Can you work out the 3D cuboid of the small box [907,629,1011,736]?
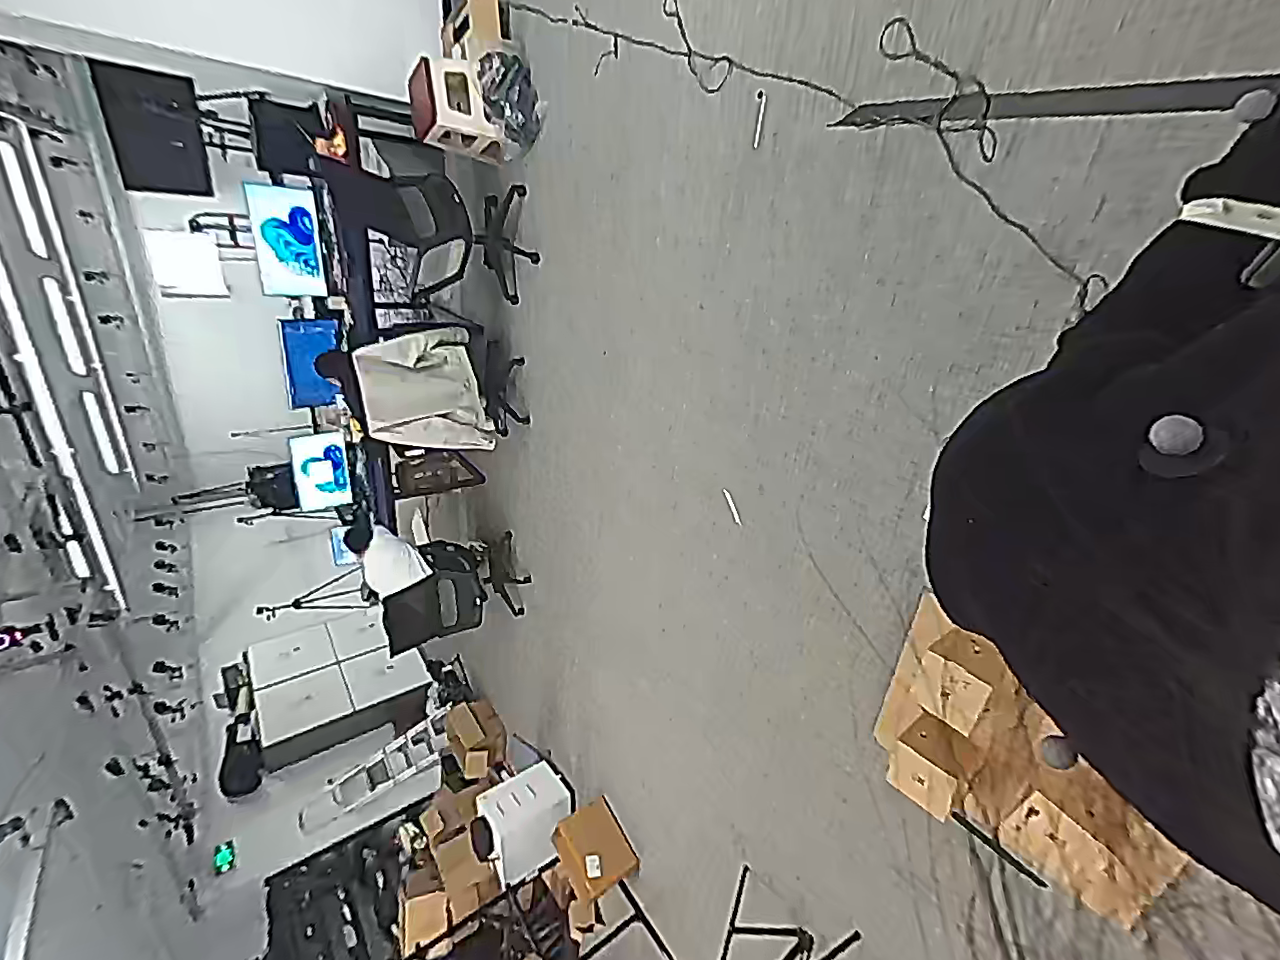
[{"bbox_3d":[0.860,0.538,1.456,0.168,0.176,0.179,32,124,43],"label":"small box"}]

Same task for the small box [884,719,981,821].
[{"bbox_3d":[0.846,0.826,1.568,0.179,0.176,0.168,27,122,47],"label":"small box"}]

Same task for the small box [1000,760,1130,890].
[{"bbox_3d":[1.032,0.828,1.313,0.179,0.176,0.168,40,130,38],"label":"small box"}]
